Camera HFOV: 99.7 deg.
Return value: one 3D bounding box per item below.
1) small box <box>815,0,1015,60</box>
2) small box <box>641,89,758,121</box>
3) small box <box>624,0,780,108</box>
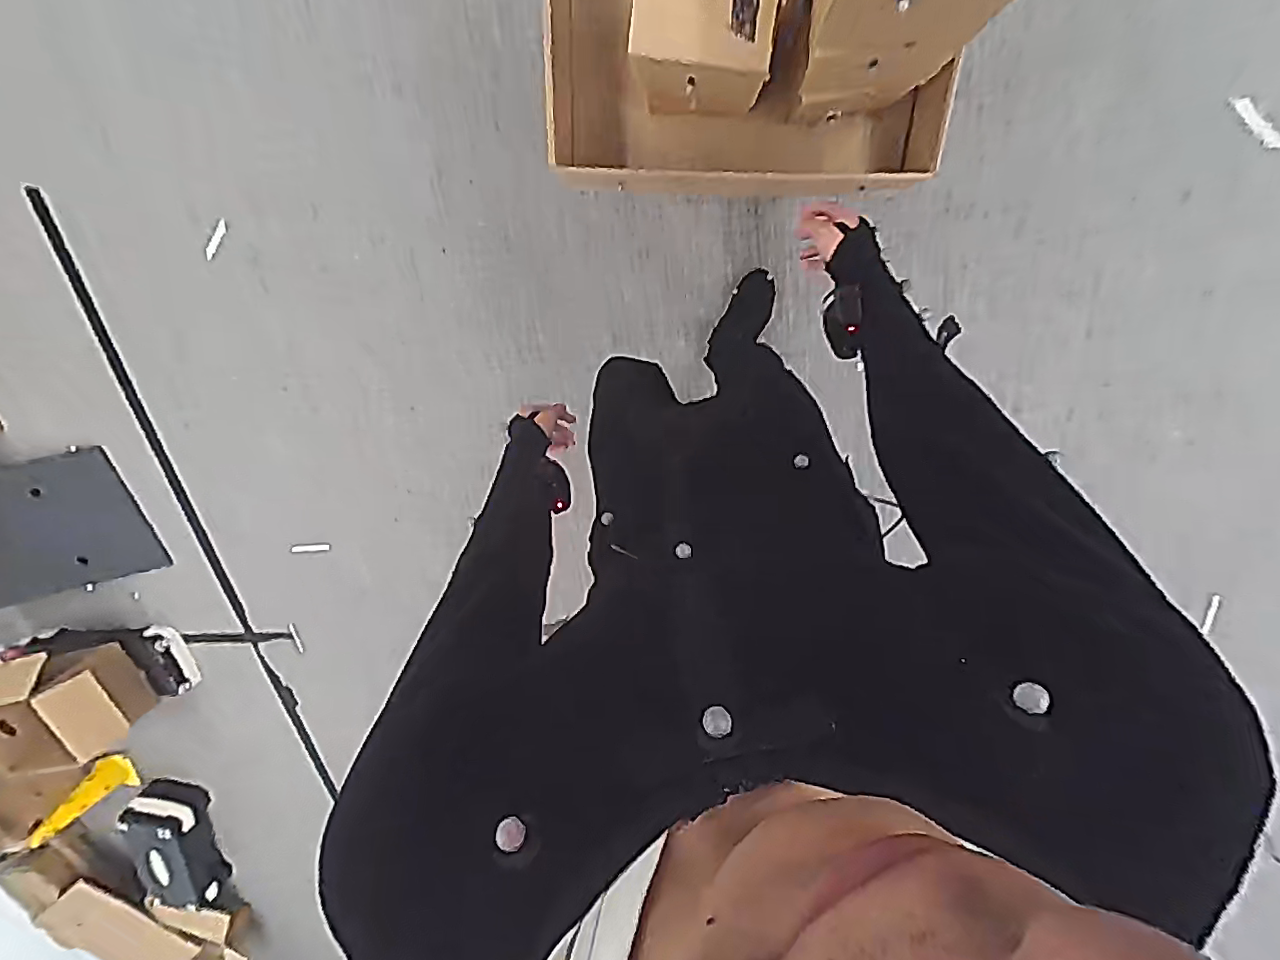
[{"bbox_3d":[0.273,-0.541,0.516,0.168,0.176,0.179,7,112,7],"label":"small box"},{"bbox_3d":[0.096,-0.678,0.844,0.179,0.176,0.168,4,112,3],"label":"small box"},{"bbox_3d":[0.084,-0.602,0.698,0.179,0.176,0.168,10,113,3],"label":"small box"}]
